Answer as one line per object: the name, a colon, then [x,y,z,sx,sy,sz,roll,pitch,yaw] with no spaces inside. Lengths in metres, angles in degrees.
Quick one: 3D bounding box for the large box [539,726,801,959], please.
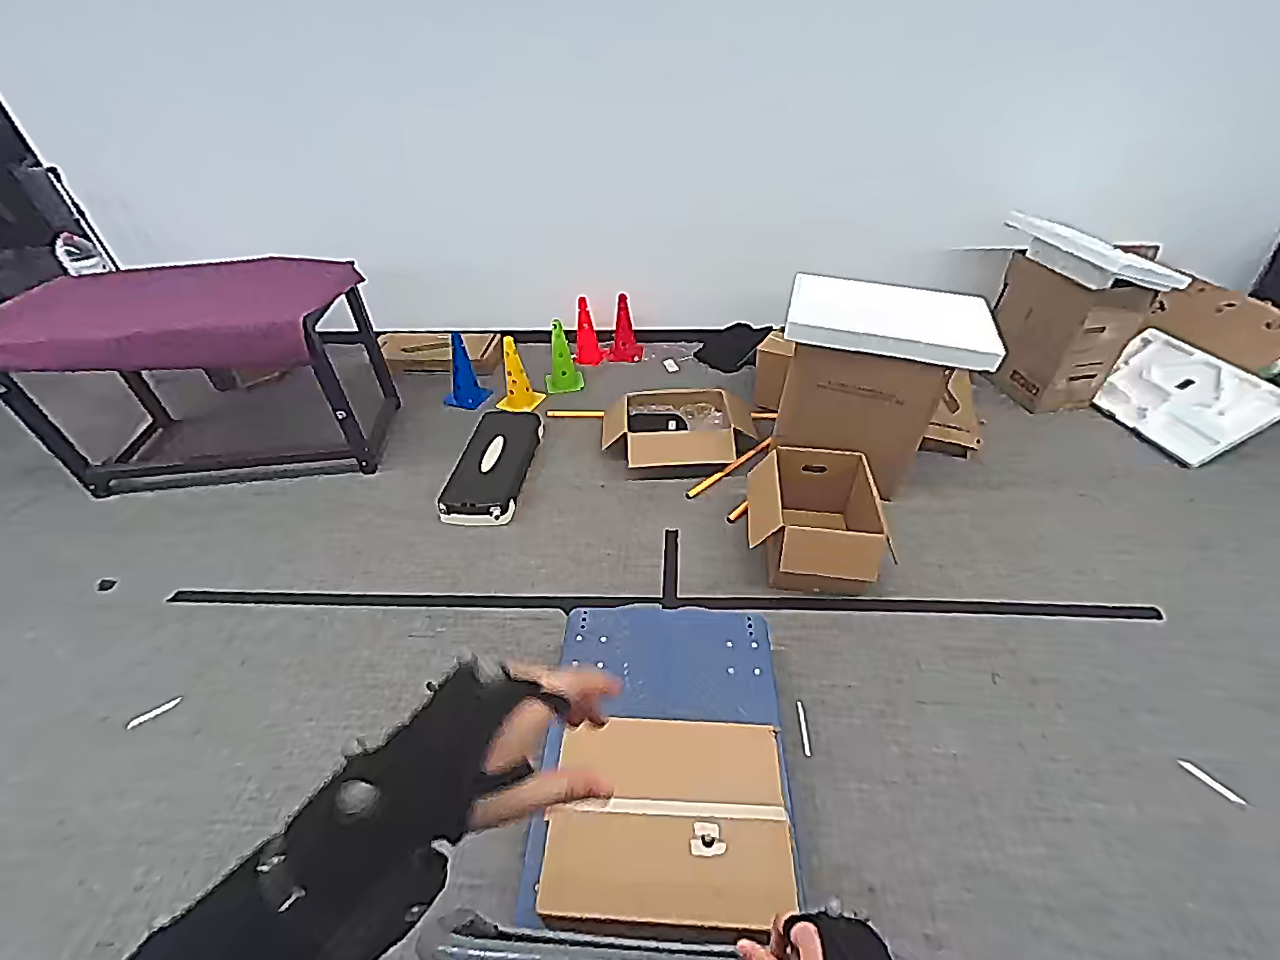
large box: [0.048,0.692,1.015,0.408,0.320,0.320,2,41,2]
